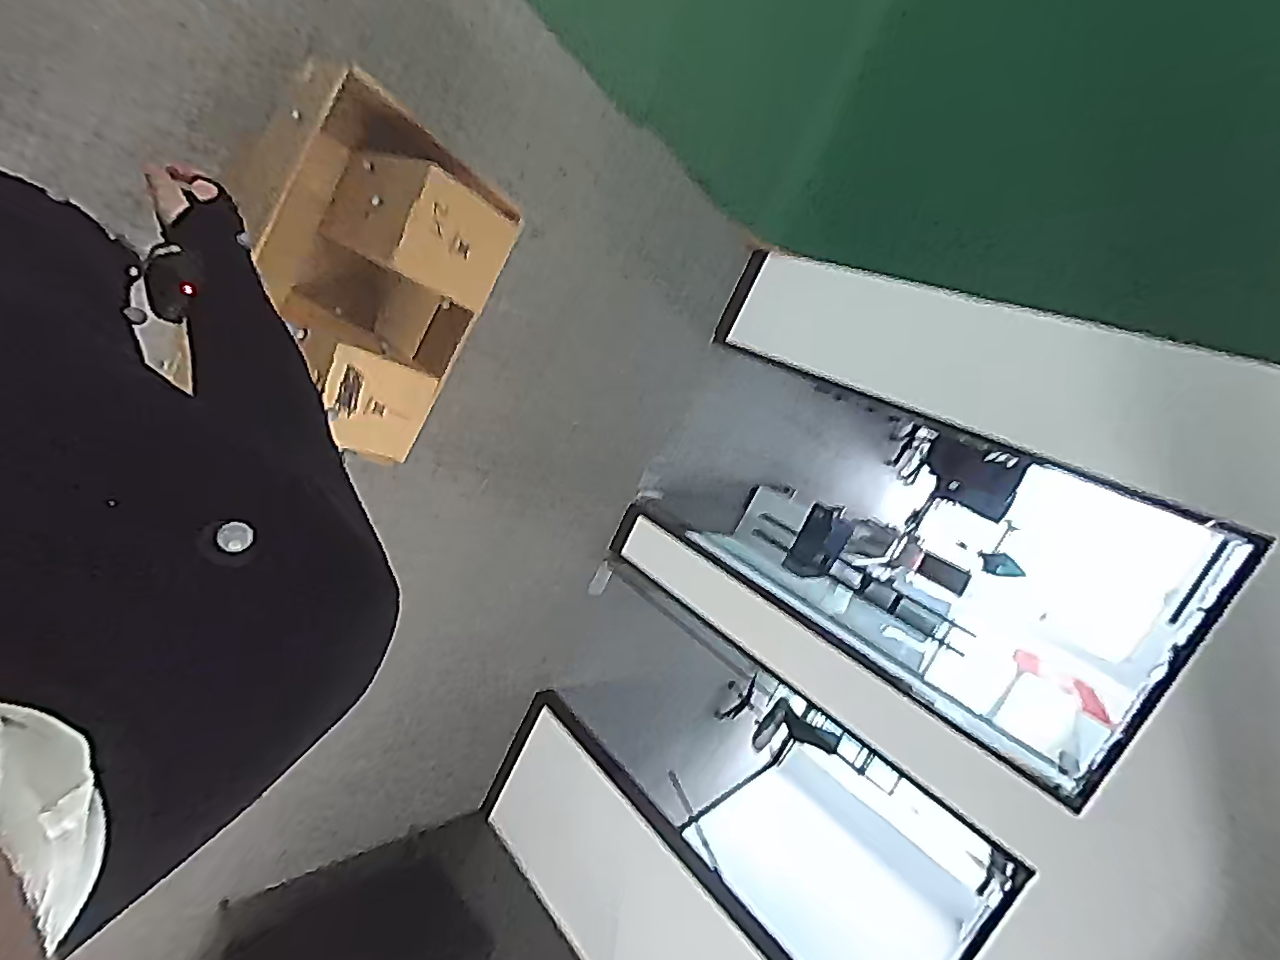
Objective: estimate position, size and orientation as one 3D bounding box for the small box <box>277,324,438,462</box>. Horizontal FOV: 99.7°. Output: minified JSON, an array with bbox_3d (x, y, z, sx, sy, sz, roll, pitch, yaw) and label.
[{"bbox_3d":[-0.497,-0.154,0.944,0.179,0.176,0.168,18,102,-53],"label":"small box"}]

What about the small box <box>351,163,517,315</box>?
[{"bbox_3d":[-0.351,-0.412,0.923,0.179,0.176,0.168,19,100,-54],"label":"small box"}]

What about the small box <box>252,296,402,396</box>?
[{"bbox_3d":[-0.603,-0.231,1.045,0.179,0.176,0.168,26,95,-54],"label":"small box"}]
